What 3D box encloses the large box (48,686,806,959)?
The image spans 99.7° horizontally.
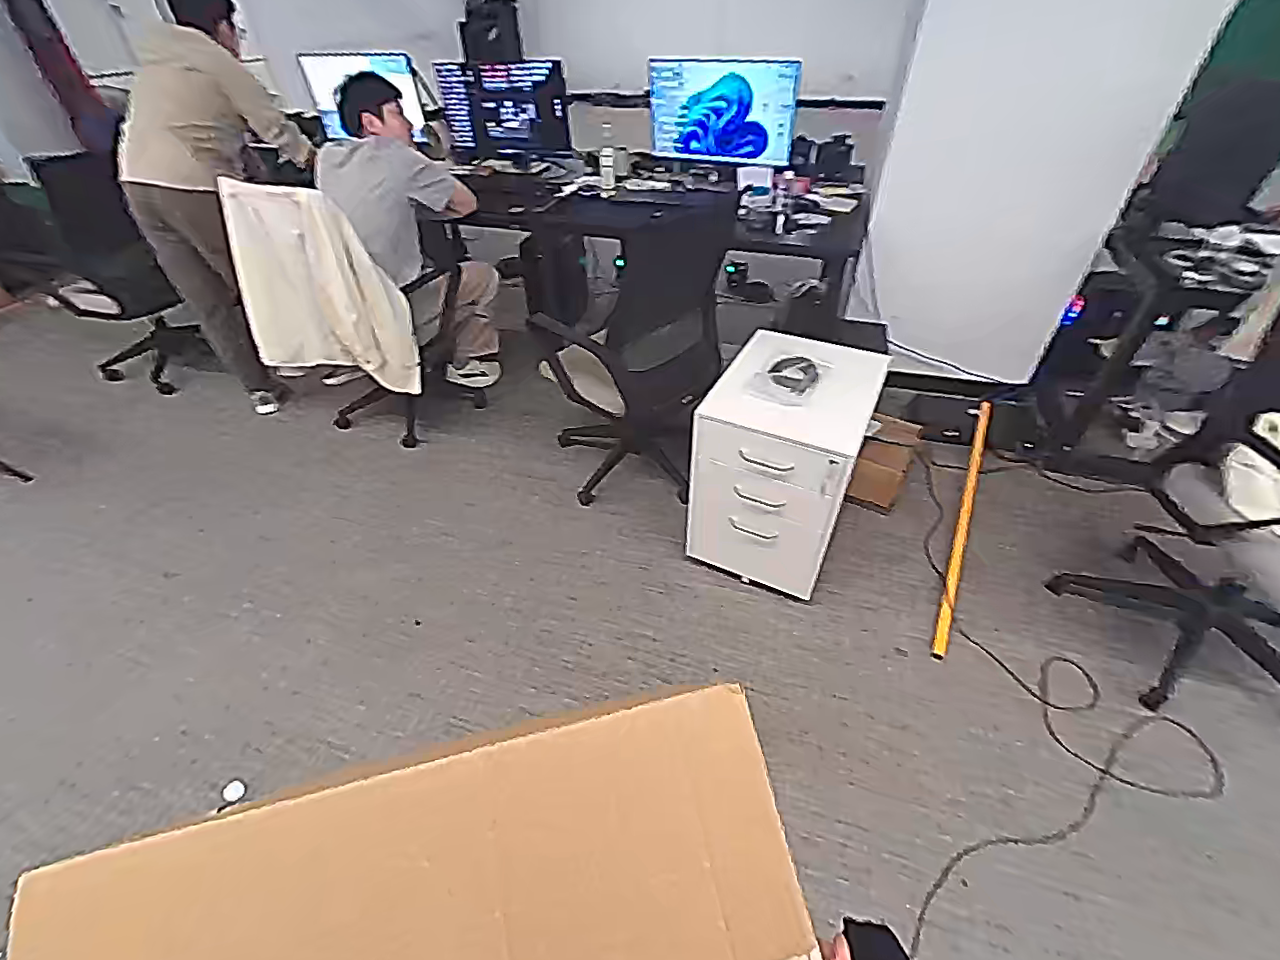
[{"bbox_3d":[-0.108,0.373,0.418,0.408,0.320,0.320,-12,71,-10],"label":"large box"}]
